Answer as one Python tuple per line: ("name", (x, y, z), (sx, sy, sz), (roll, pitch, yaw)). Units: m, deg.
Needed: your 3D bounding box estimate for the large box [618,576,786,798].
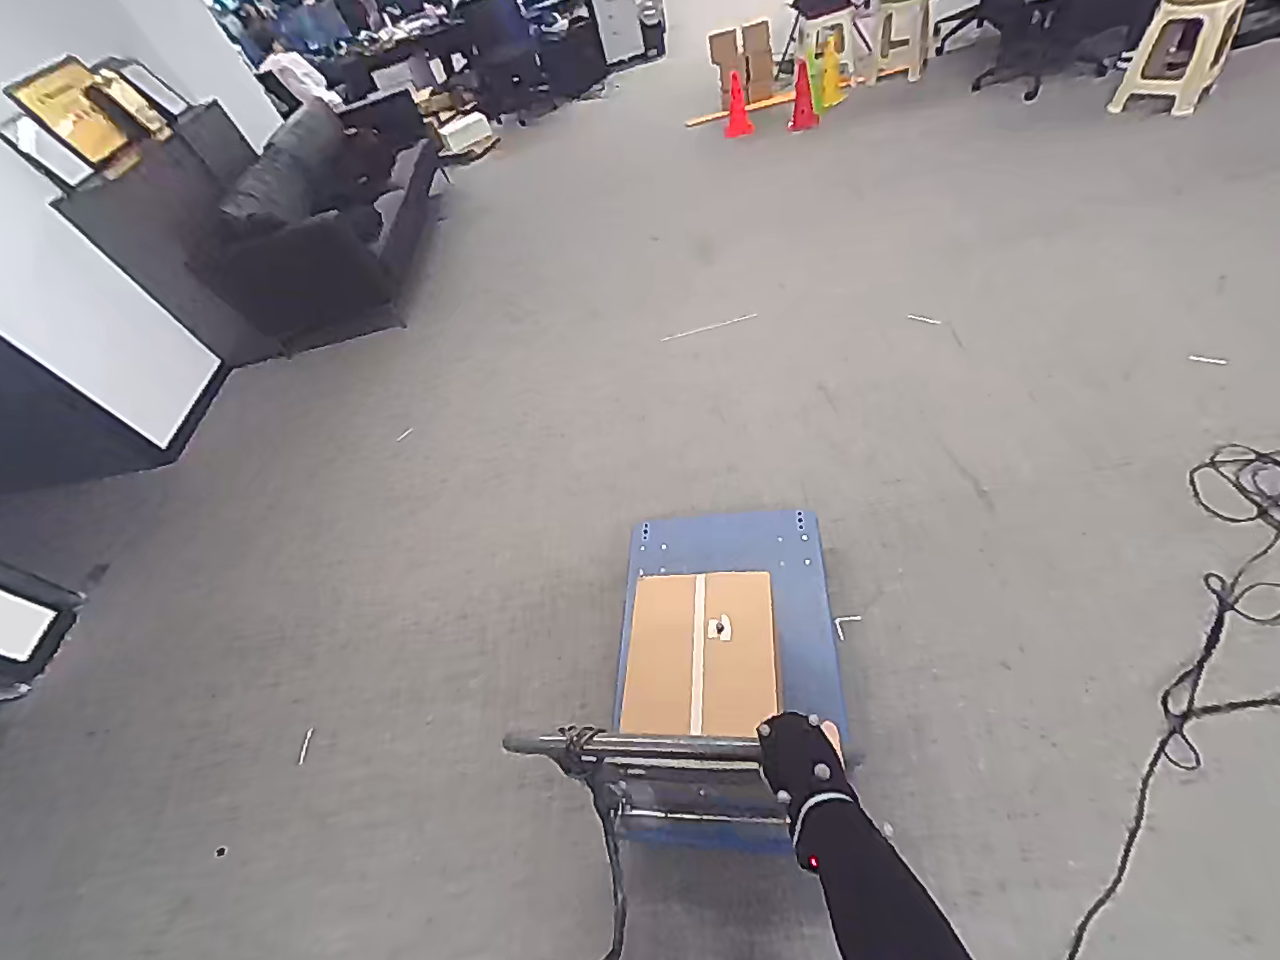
("large box", (0.158, 0.480, 1.256), (0.320, 0.320, 0.408), (-4, 50, 14))
